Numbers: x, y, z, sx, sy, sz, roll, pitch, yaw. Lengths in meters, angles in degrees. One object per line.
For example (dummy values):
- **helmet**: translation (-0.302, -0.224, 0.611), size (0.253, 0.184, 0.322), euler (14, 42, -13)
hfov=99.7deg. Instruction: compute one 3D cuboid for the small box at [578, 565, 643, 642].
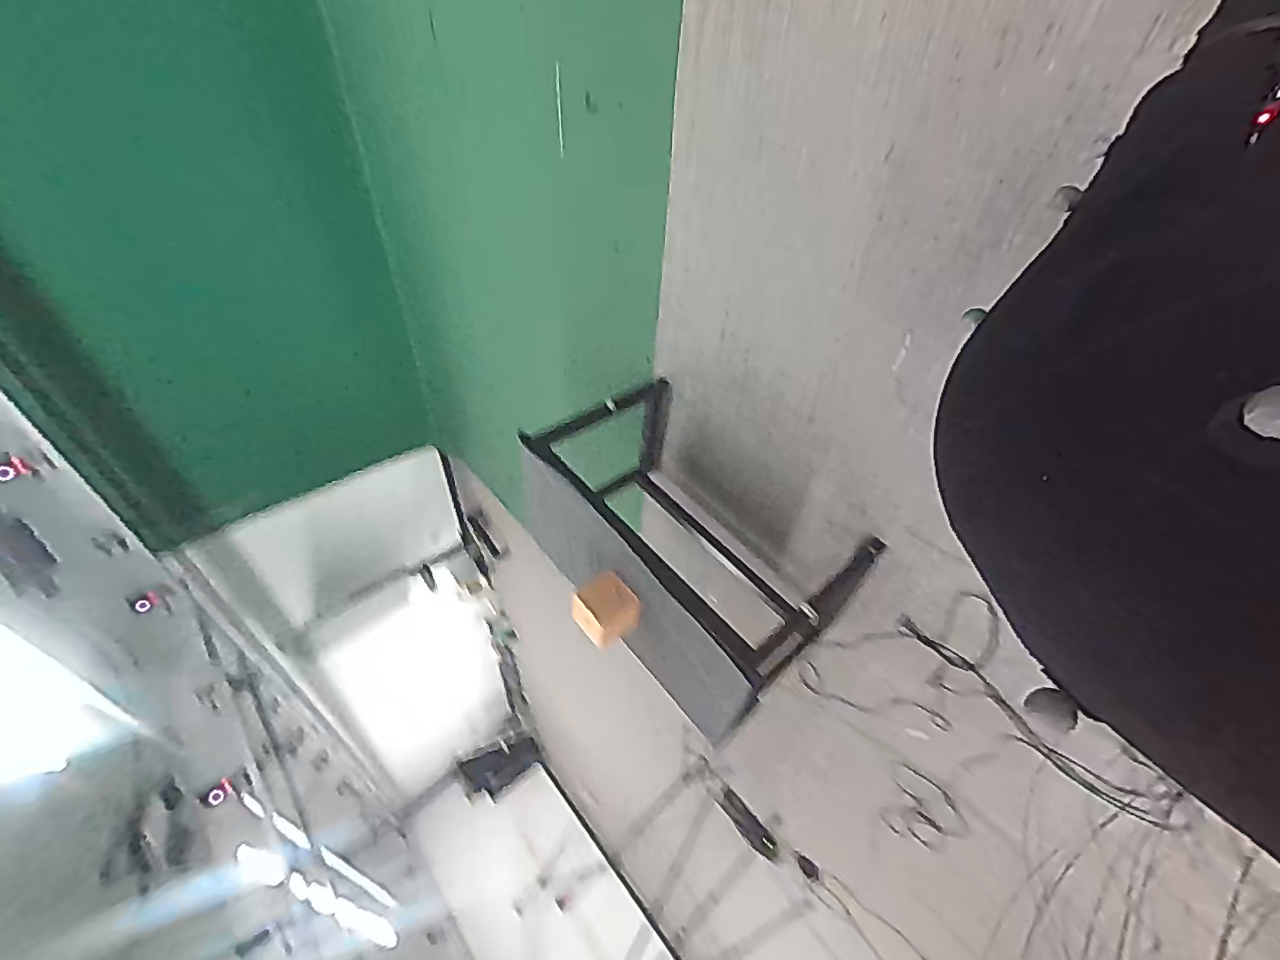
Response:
- **small box**: translation (-0.105, 0.439, 1.931), size (0.168, 0.176, 0.179), euler (43, 146, 28)
